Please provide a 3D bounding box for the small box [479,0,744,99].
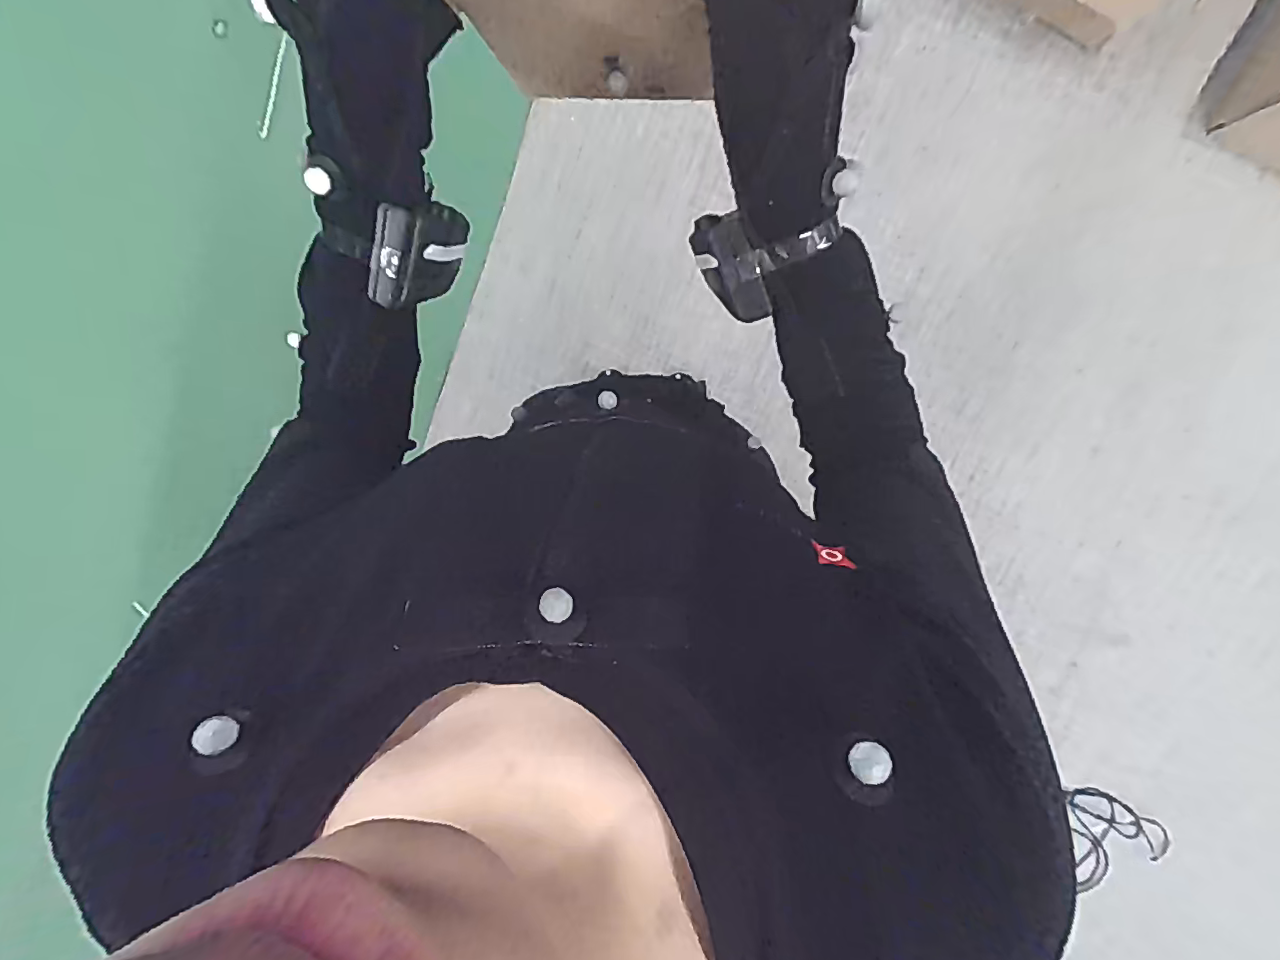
[{"bbox_3d":[-0.015,-0.359,0.315,0.168,0.176,0.179,5,105,6],"label":"small box"}]
